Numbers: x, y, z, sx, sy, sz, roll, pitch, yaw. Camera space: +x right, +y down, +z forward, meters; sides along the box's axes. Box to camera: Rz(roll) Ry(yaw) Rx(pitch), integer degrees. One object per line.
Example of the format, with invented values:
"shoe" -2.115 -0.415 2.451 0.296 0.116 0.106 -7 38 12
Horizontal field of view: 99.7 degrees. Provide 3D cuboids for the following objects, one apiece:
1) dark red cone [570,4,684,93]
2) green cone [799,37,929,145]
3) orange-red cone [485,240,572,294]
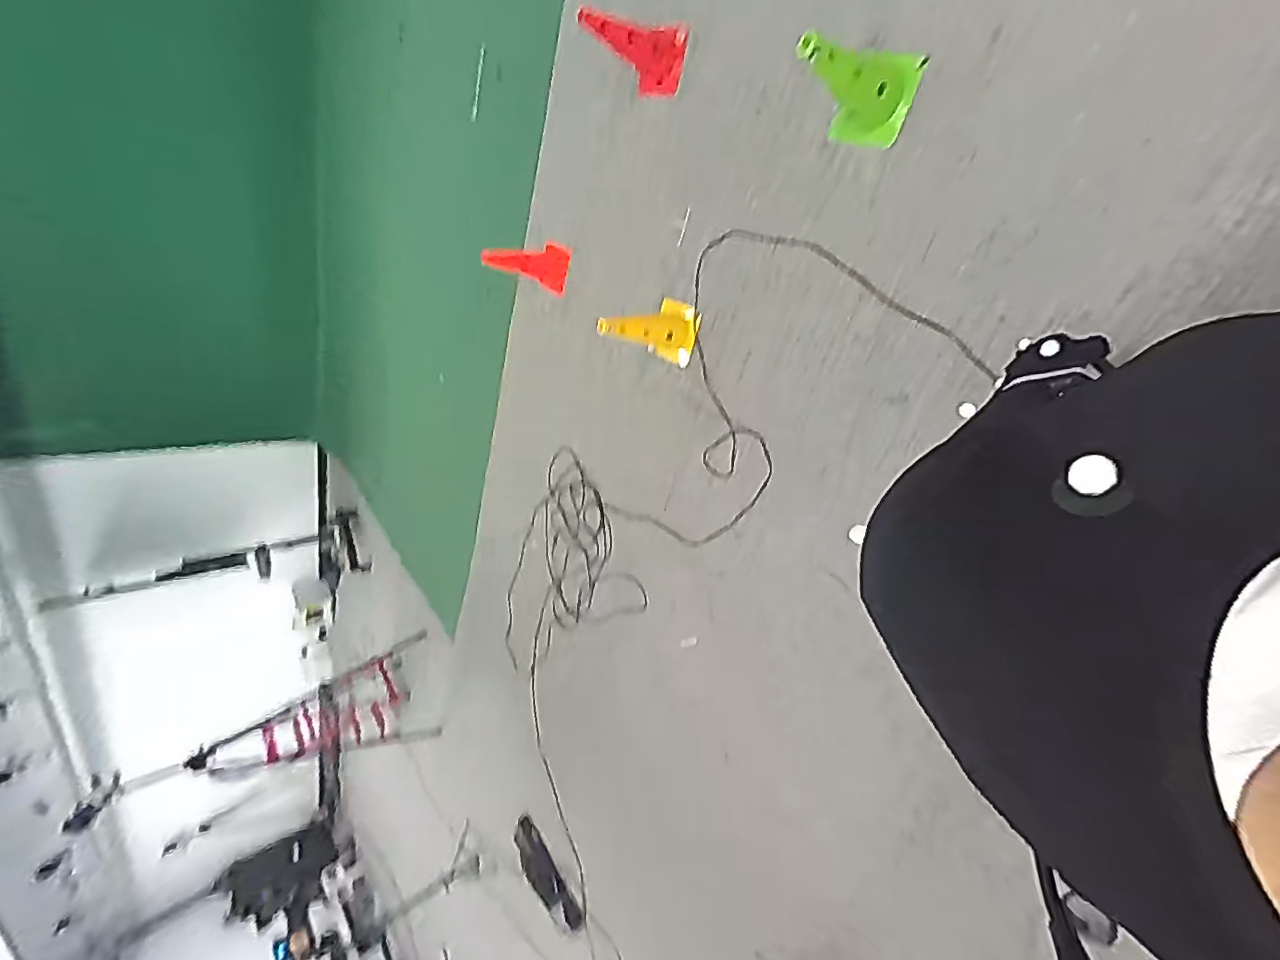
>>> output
"dark red cone" -0.053 -1.426 1.742 0.201 0.394 0.202 34 121 39
"green cone" 0.489 -0.964 1.282 0.200 0.368 0.202 38 125 37
"orange-red cone" -0.501 -0.946 2.347 0.199 0.360 0.198 39 125 34
